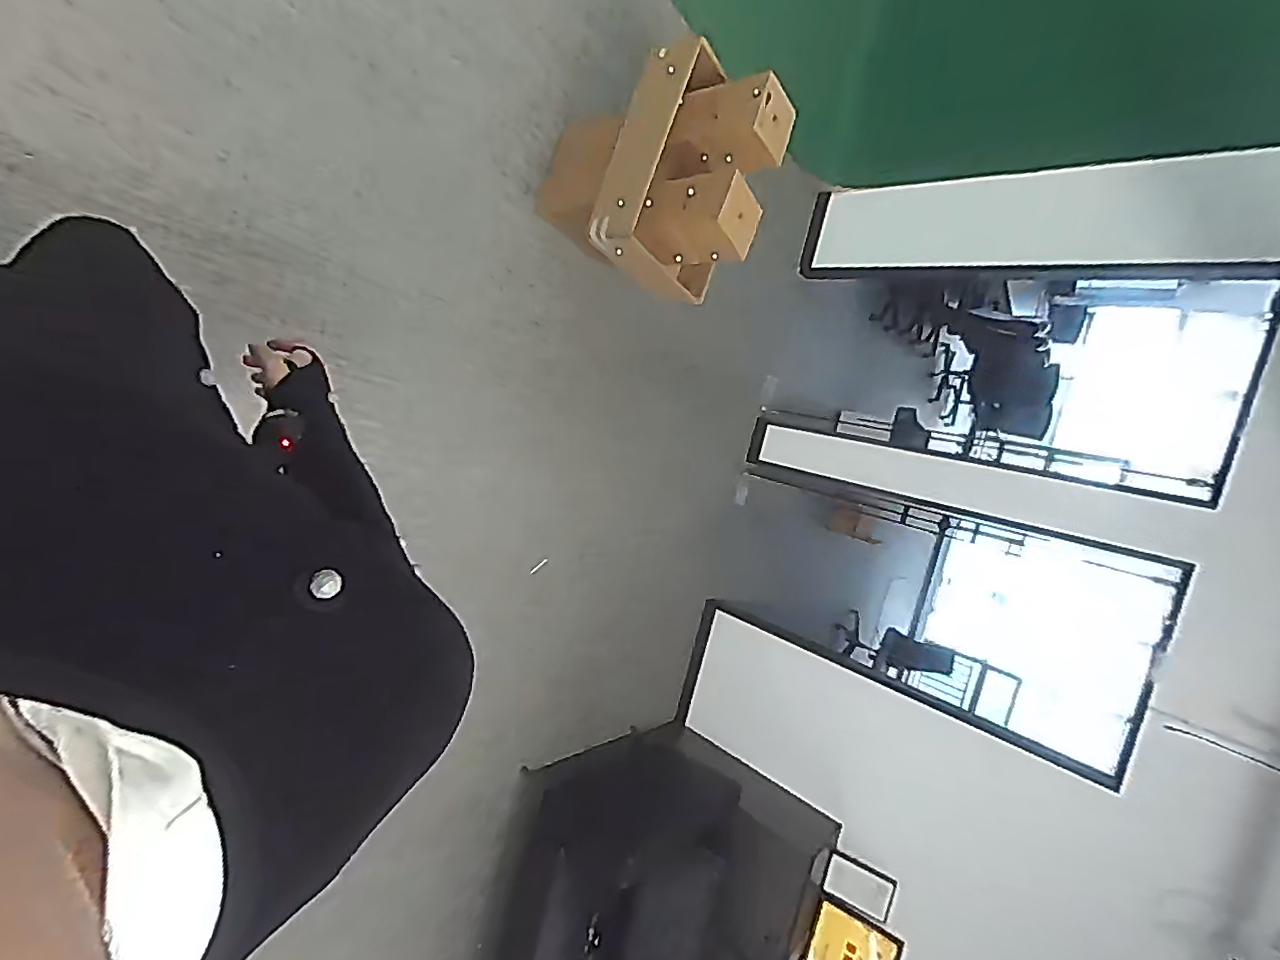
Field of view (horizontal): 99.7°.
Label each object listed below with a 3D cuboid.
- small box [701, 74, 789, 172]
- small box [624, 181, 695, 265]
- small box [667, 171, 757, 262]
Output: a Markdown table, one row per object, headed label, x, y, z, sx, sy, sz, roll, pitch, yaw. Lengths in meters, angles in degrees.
| label | x | y | z | sx | sy | sz | roll | pitch | yaw |
| --- | --- | --- | --- | --- | --- | --- | --- | --- | --- |
| small box | 0.306 | -1.028 | 1.576 | 0.179 | 0.176 | 0.168 | 17 | 89 | -52 |
| small box | 0.084 | -0.786 | 1.662 | 0.179 | 0.176 | 0.168 | 28 | 81 | -51 |
| small box | 0.208 | -0.754 | 1.561 | 0.179 | 0.176 | 0.168 | 27 | 82 | -51 |
